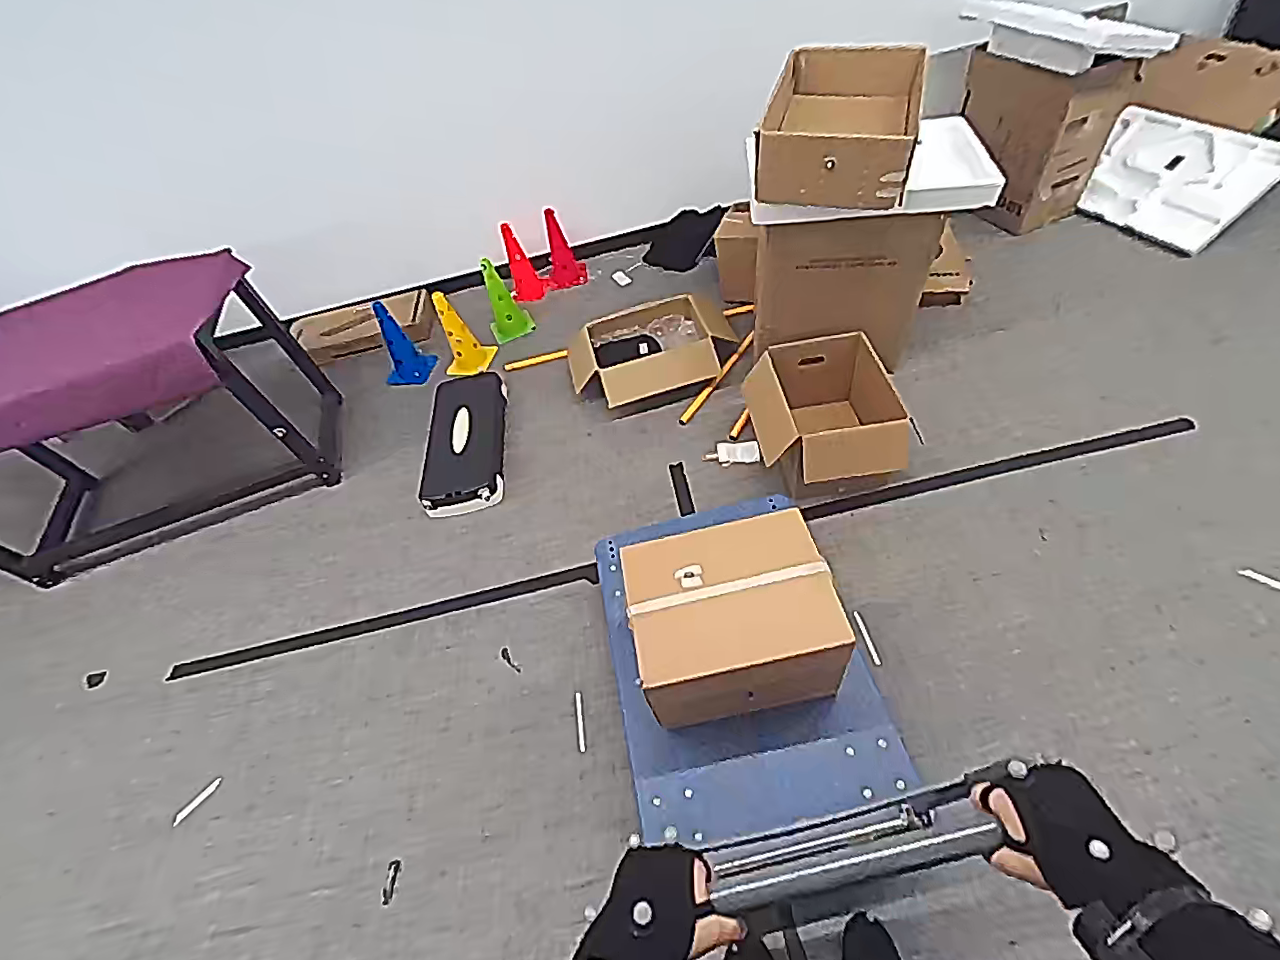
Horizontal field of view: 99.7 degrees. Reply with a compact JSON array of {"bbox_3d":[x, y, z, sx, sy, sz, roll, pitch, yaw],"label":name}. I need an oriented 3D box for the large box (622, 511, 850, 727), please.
[{"bbox_3d":[0.202,0.320,1.216,0.408,0.320,0.320,-14,50,2],"label":"large box"}]
